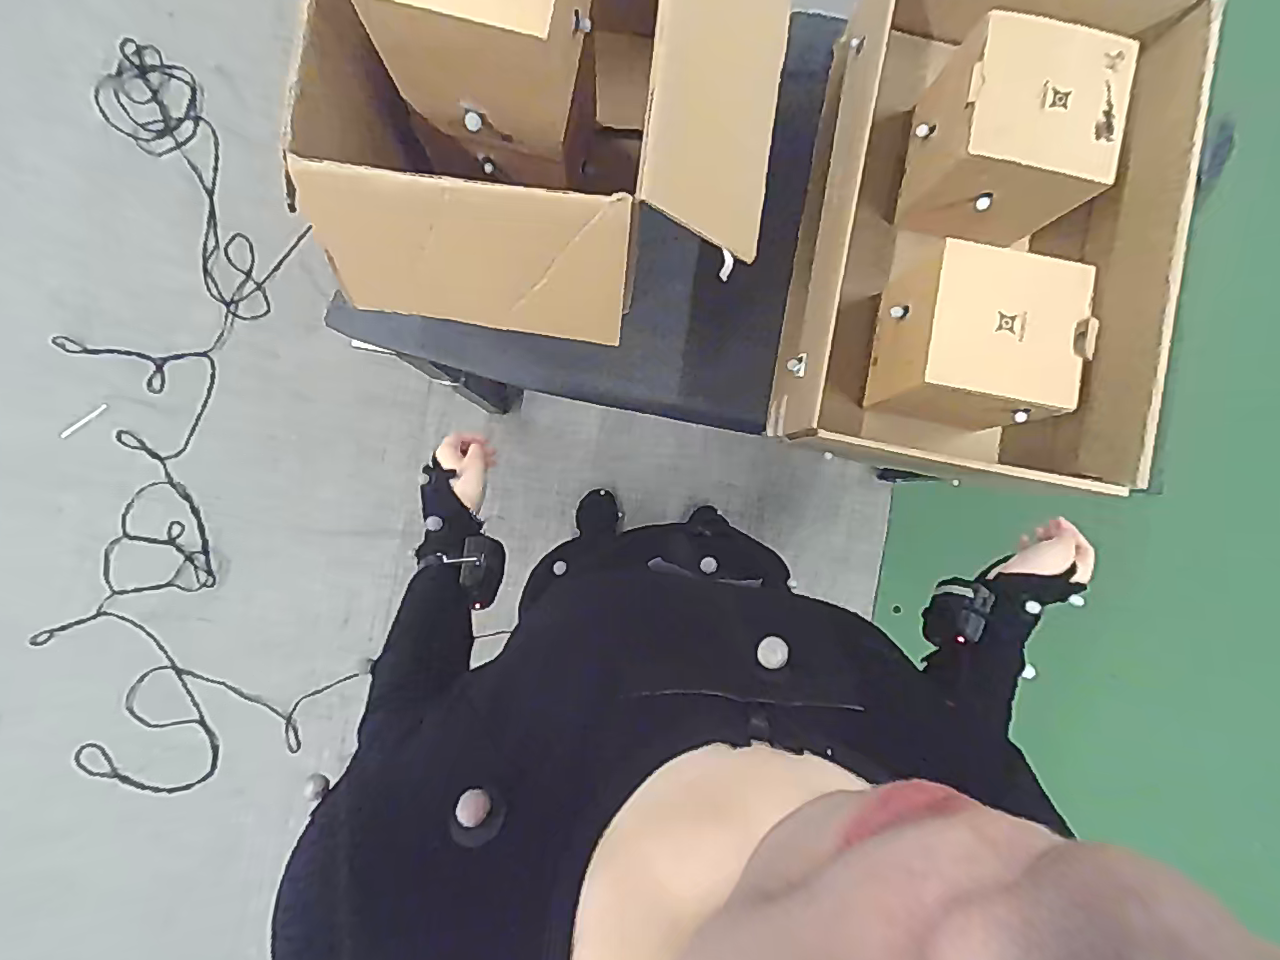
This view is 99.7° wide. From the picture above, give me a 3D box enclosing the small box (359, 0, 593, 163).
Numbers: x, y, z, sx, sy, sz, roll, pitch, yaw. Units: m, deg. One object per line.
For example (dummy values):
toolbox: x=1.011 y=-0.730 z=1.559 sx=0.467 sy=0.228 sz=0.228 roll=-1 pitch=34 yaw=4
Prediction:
small box: x=-0.141 y=-0.452 z=0.519 sx=0.168 sy=0.176 sz=0.179 roll=12 pitch=90 yaw=-3
